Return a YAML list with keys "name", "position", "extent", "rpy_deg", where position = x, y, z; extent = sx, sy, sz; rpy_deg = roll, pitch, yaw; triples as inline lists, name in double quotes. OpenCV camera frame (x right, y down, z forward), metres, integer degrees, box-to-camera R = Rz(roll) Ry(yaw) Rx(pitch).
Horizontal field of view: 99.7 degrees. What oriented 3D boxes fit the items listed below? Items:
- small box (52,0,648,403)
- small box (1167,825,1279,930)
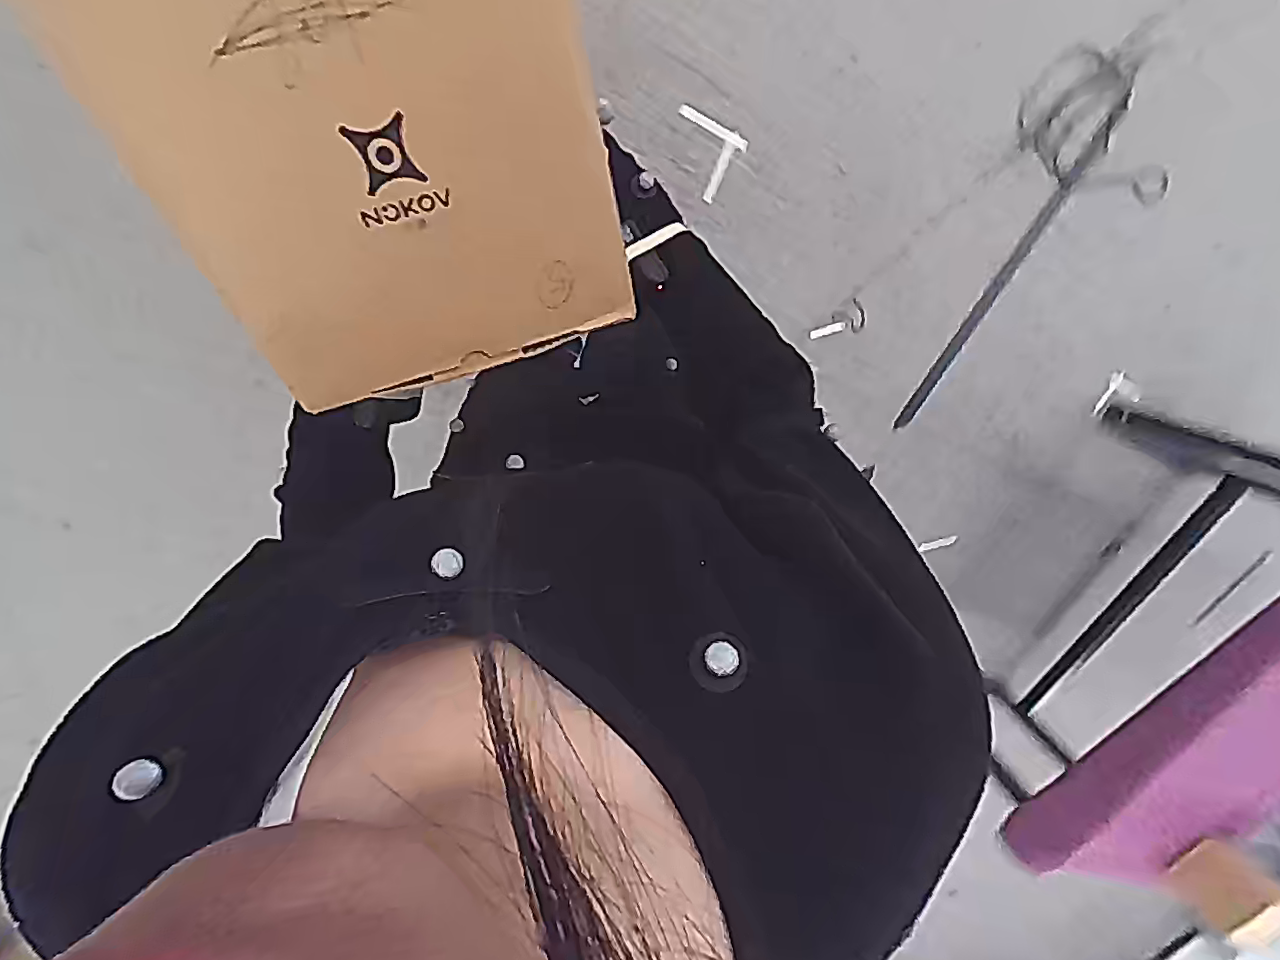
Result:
- name: "small box"
  position: [-0.106, -0.170, 0.265]
  extent: [0.168, 0.176, 0.179]
  rpy_deg: [-18, 131, -5]
- name: "small box"
  position: [1.645, 1.097, 1.499]
  extent: [0.168, 0.176, 0.179]
  rpy_deg: [22, 110, -18]
